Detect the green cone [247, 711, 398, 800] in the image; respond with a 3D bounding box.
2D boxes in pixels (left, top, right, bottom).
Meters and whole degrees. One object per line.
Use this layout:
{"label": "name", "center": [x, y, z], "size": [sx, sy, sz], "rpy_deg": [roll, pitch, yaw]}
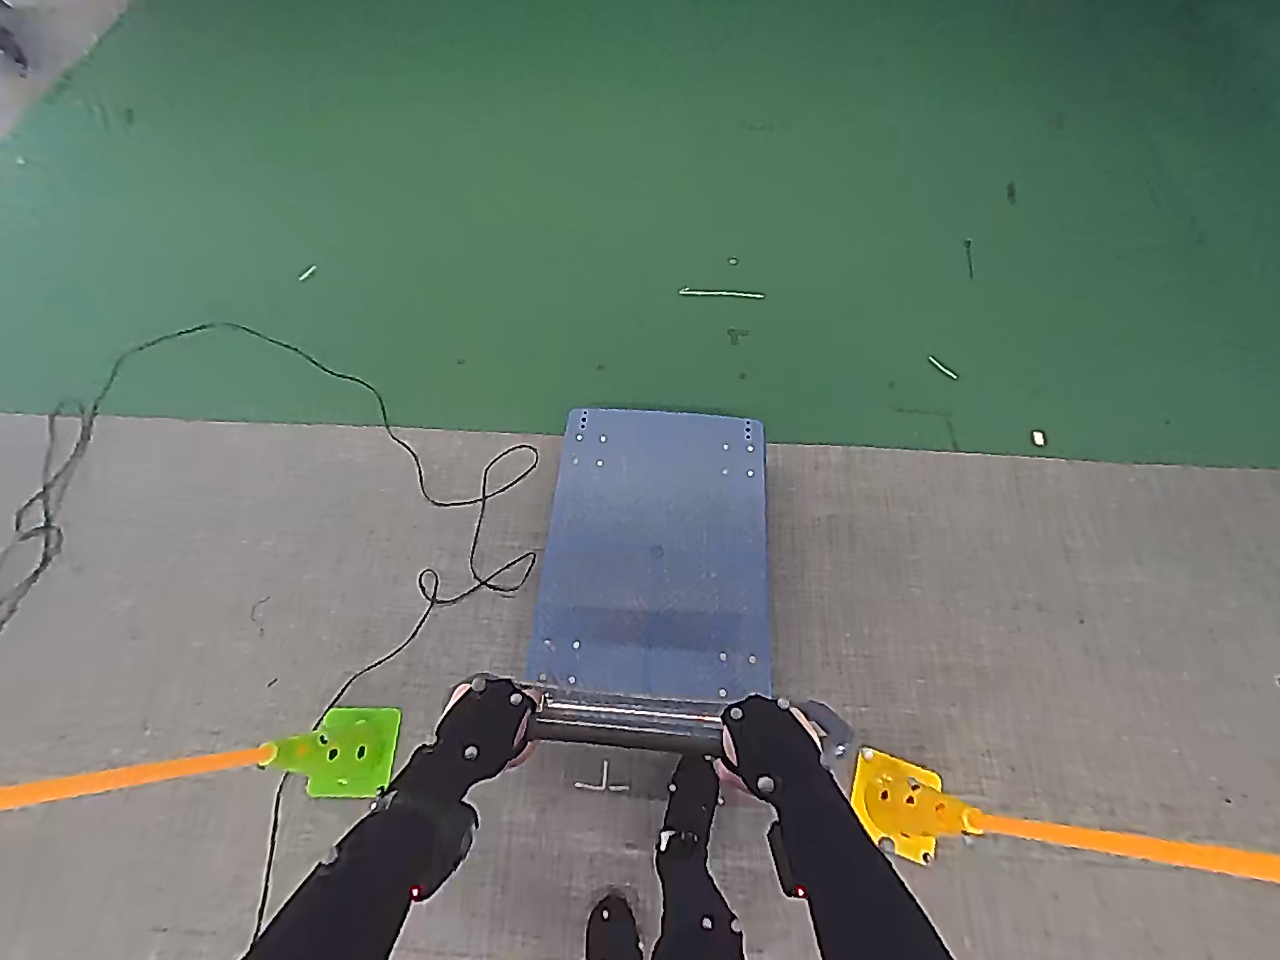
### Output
{"label": "green cone", "center": [-0.725, 0.609, 1.201], "size": [0.202, 0.368, 0.200], "rpy_deg": [-2, 63, 2]}
